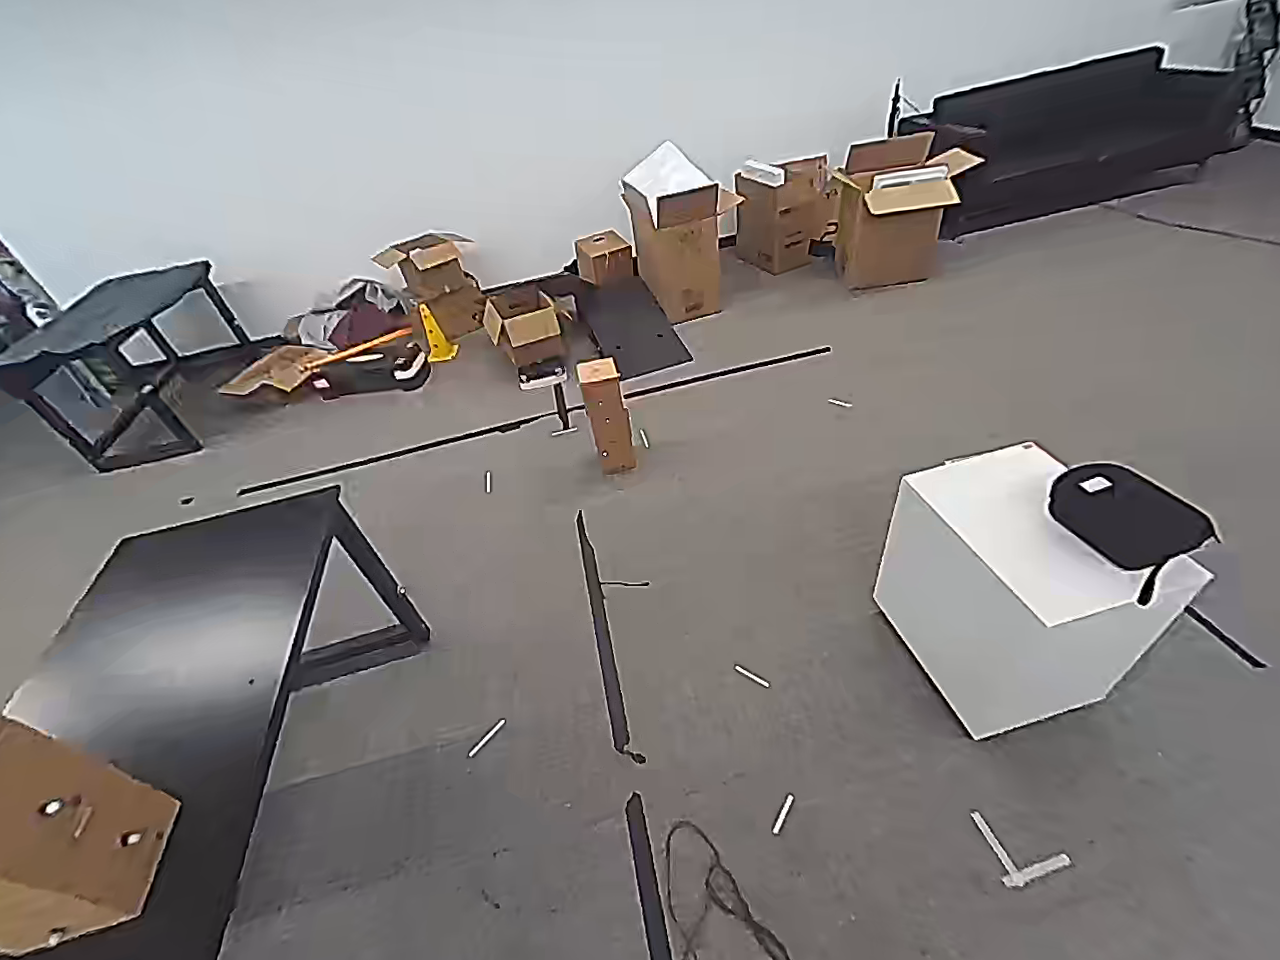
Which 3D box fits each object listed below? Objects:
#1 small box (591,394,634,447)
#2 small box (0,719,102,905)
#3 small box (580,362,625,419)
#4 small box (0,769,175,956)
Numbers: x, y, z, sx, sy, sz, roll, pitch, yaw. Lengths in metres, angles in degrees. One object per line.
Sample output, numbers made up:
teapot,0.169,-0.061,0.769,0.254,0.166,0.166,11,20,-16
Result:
small box,-0.135,-0.270,2.487,0.179,0.176,0.168,-13,41,-5
small box,-0.886,0.448,0.701,0.179,0.176,0.168,-15,41,-6
small box,-0.167,-0.393,2.386,0.168,0.176,0.179,-12,41,-3
small box,-0.862,0.571,0.809,0.179,0.176,0.168,-15,40,-6
